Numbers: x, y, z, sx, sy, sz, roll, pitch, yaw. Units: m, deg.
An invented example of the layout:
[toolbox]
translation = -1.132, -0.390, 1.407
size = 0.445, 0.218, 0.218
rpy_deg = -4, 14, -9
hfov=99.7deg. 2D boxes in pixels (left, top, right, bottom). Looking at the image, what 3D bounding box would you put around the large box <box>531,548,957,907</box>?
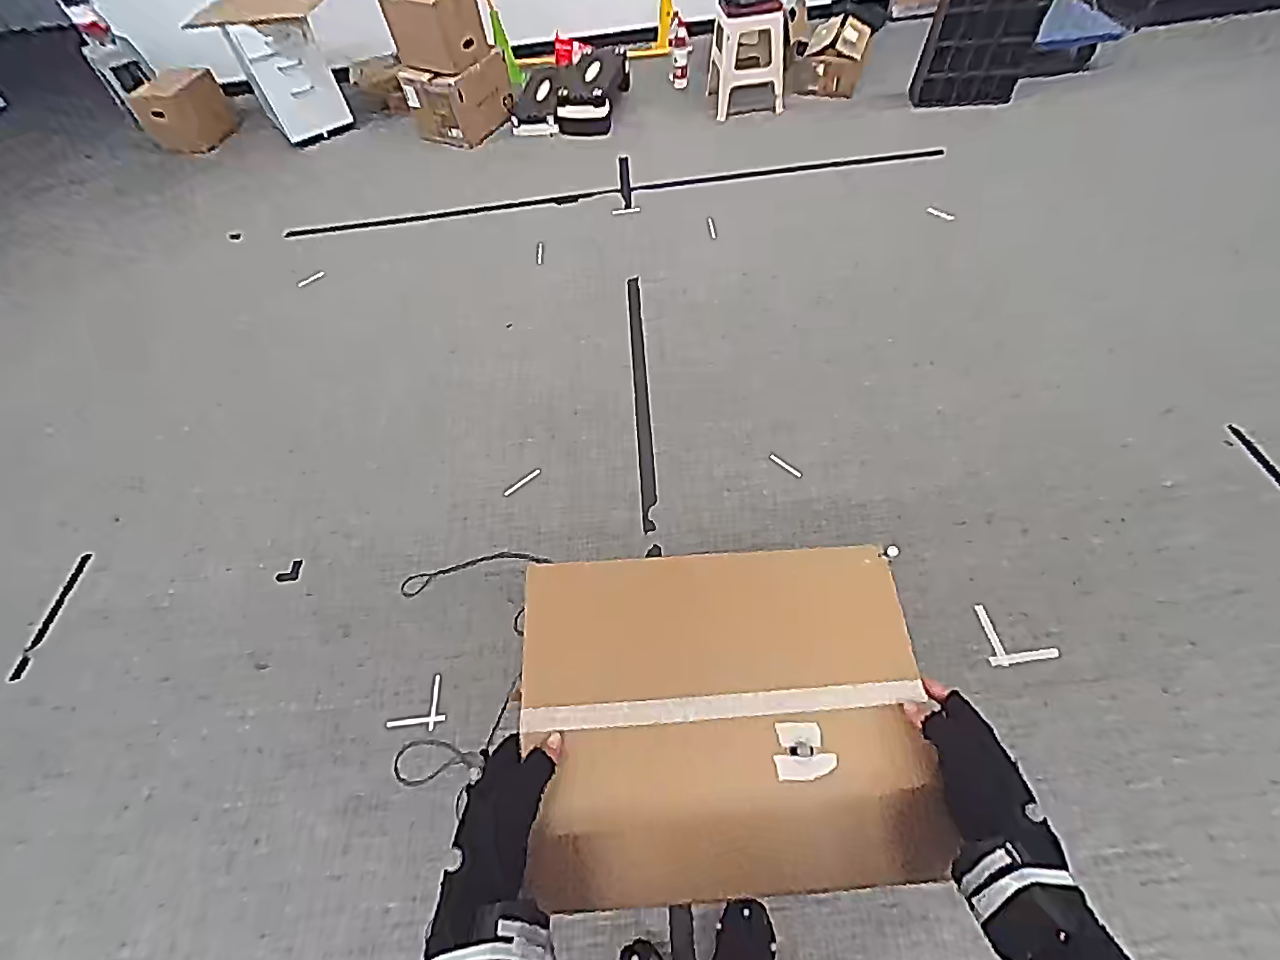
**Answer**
[large box]
translation = 0.083, 0.295, 0.689
size = 0.408, 0.320, 0.320
rpy_deg = -3, 65, -3
